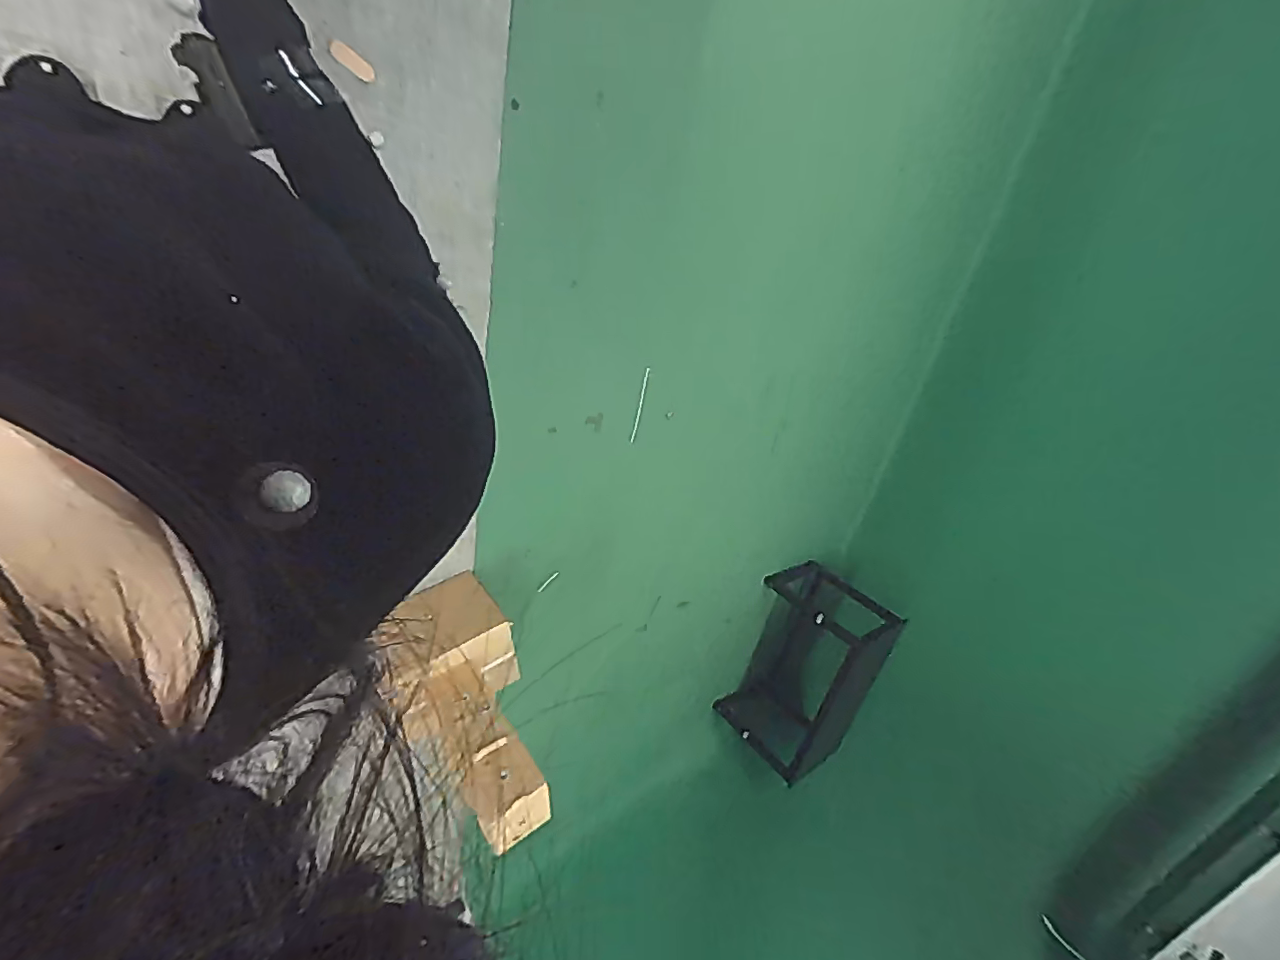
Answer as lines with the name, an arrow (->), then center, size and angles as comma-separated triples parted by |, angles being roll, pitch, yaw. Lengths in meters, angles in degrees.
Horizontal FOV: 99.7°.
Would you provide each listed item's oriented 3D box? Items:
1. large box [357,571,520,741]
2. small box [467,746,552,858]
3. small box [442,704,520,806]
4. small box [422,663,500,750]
large box -> -0.679, 0.585, 1.852 | 0.408, 0.320, 0.320 | -25, 133, -31
small box -> -0.355, 0.859, 1.465 | 0.168, 0.176, 0.179 | -20, 127, -32
small box -> -0.459, 0.785, 1.569 | 0.168, 0.176, 0.179 | -19, 128, -34
small box -> -0.551, 0.705, 1.679 | 0.179, 0.176, 0.168 | -20, 128, -32
